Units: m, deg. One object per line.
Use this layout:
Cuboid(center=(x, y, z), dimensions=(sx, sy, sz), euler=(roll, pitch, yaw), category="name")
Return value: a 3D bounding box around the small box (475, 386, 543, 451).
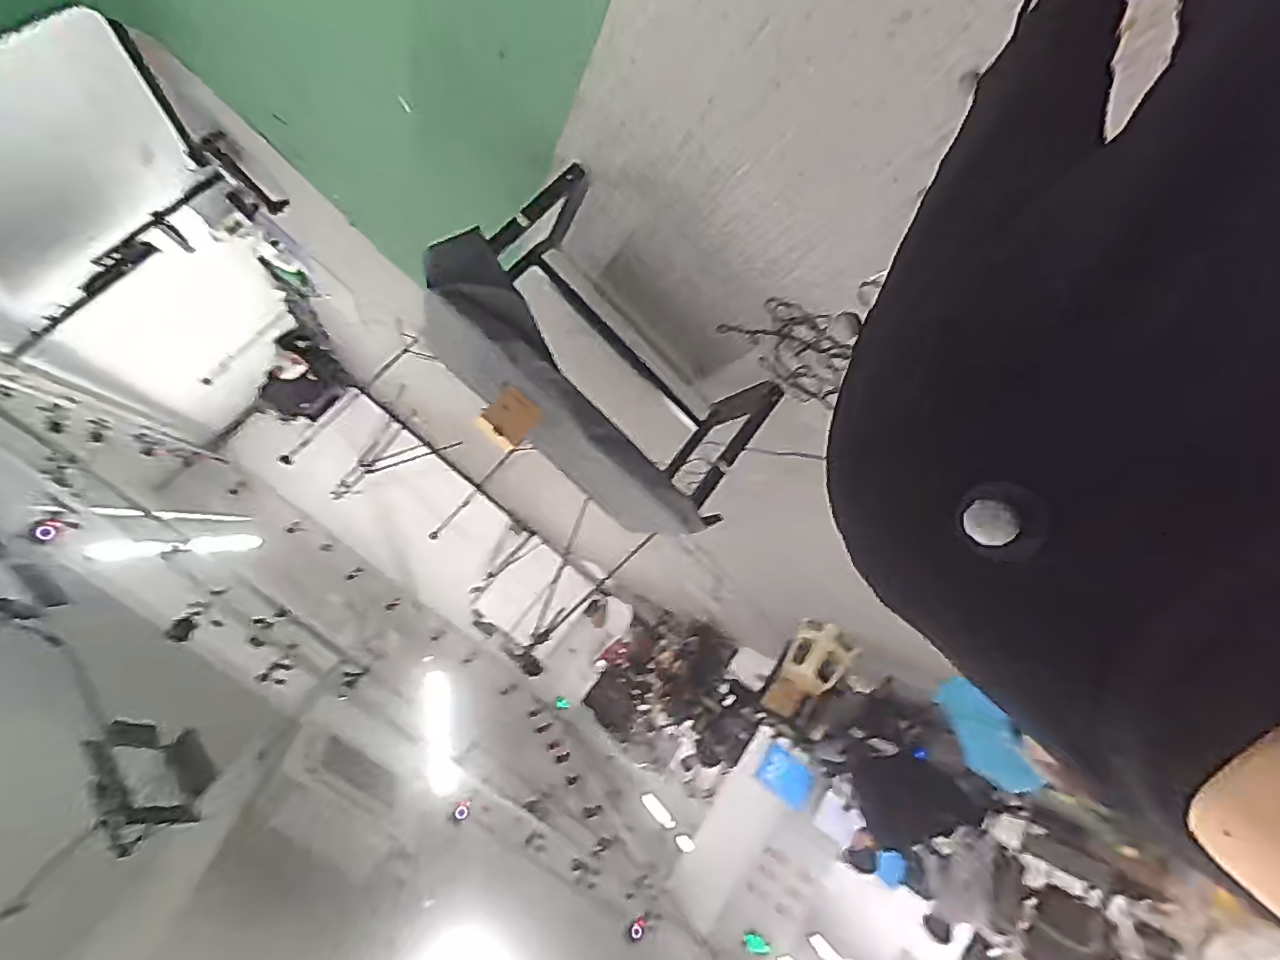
Cuboid(center=(-0.479, -0.226, 1.988), dimensions=(0.168, 0.176, 0.179), euler=(45, 162, -15), category="small box")
